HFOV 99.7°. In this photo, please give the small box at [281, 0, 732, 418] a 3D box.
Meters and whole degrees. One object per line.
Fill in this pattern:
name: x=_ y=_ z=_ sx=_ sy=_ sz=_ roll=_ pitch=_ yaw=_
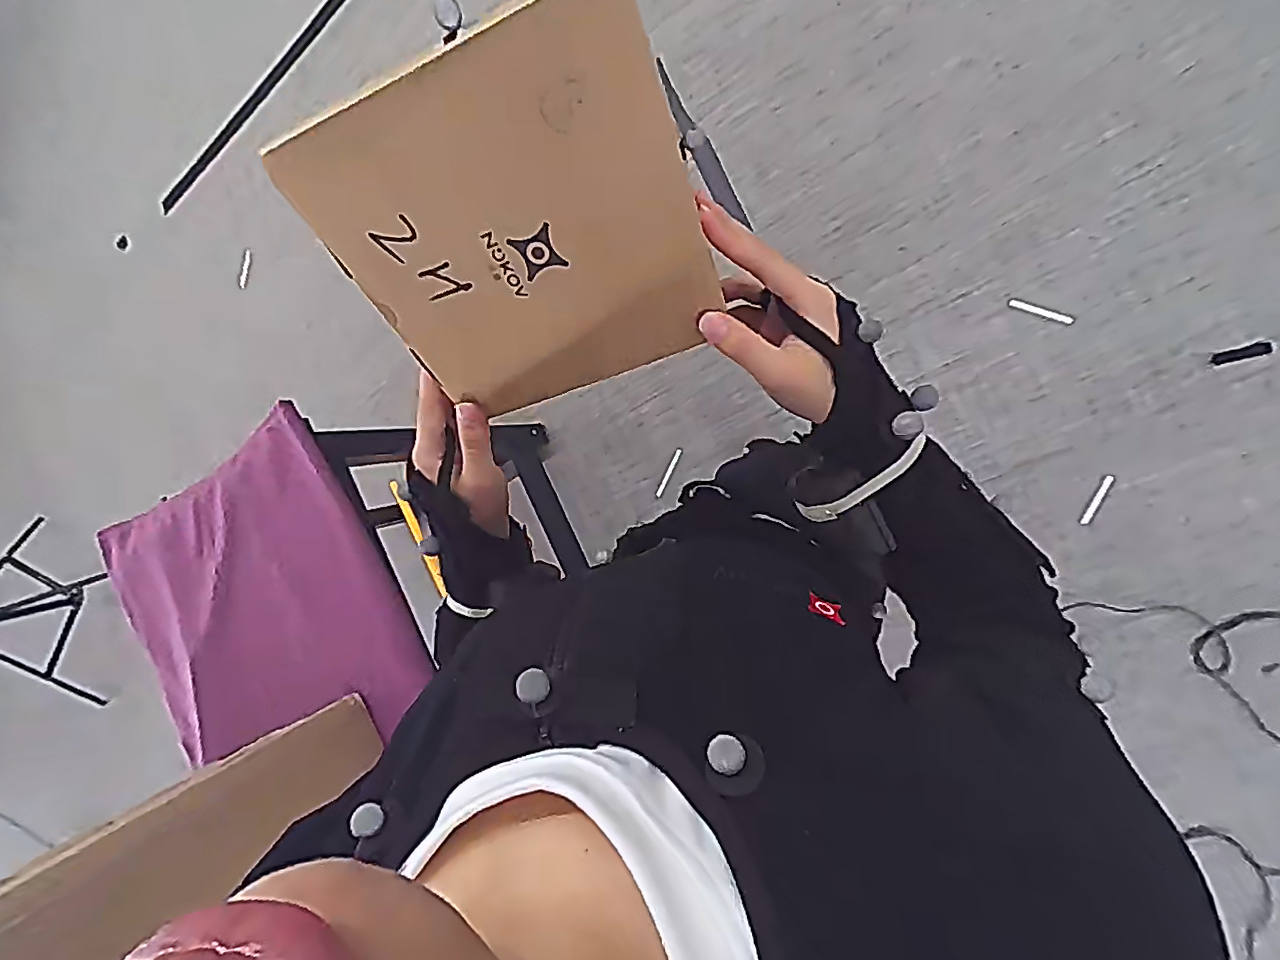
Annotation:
small box: x=-0.057 y=-0.172 z=0.332 sx=0.179 sy=0.176 sz=0.168 roll=-16 pitch=133 yaw=15
